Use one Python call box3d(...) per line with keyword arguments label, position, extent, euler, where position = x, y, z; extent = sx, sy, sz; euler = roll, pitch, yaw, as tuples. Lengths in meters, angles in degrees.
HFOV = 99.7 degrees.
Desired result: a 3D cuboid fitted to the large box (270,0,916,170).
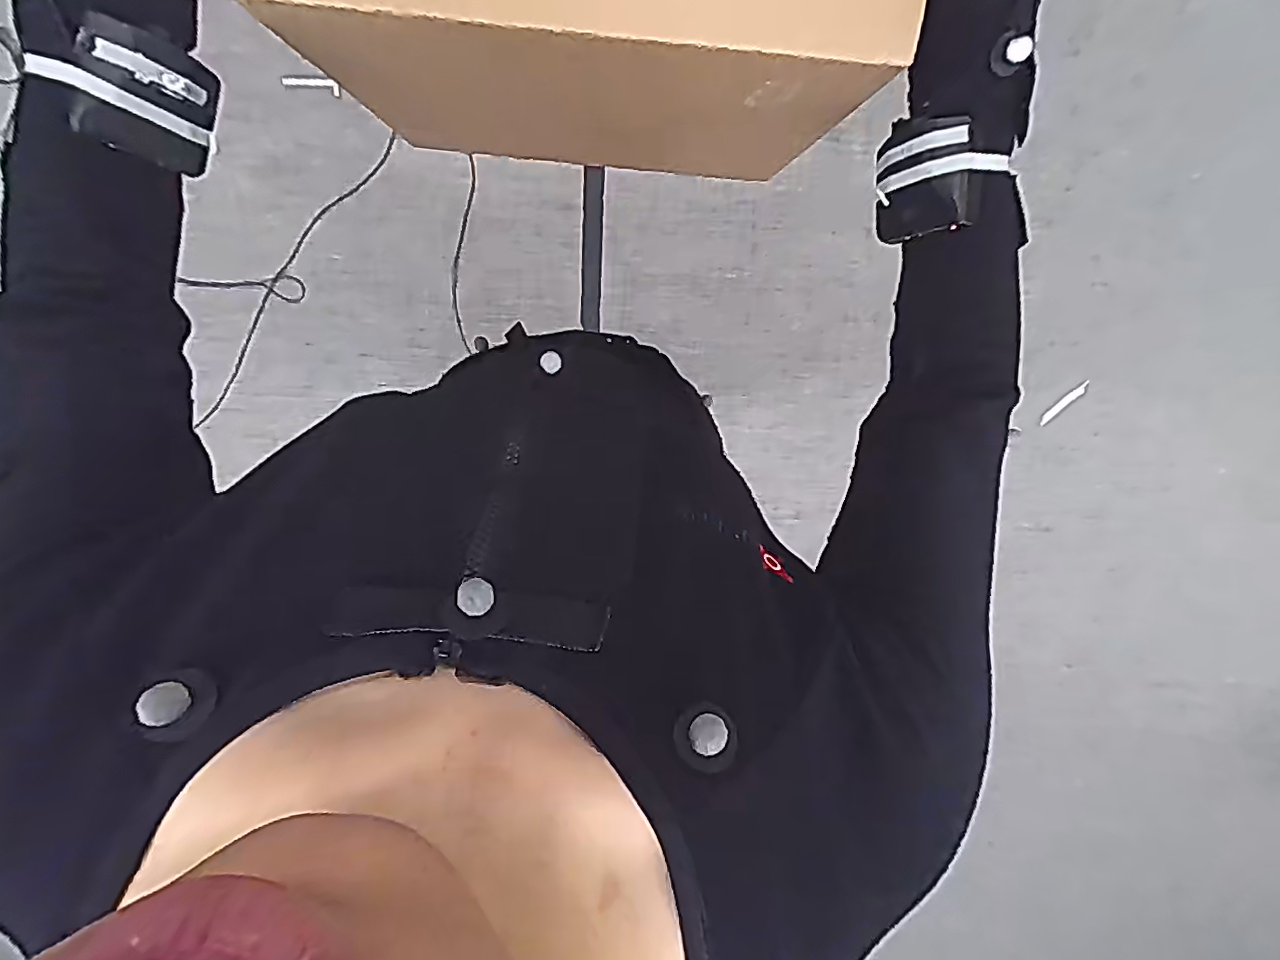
box3d(label="large box", position=(-0.031, -0.464, 0.426), extent=(0.408, 0.320, 0.320), euler=(2, 108, -5))
